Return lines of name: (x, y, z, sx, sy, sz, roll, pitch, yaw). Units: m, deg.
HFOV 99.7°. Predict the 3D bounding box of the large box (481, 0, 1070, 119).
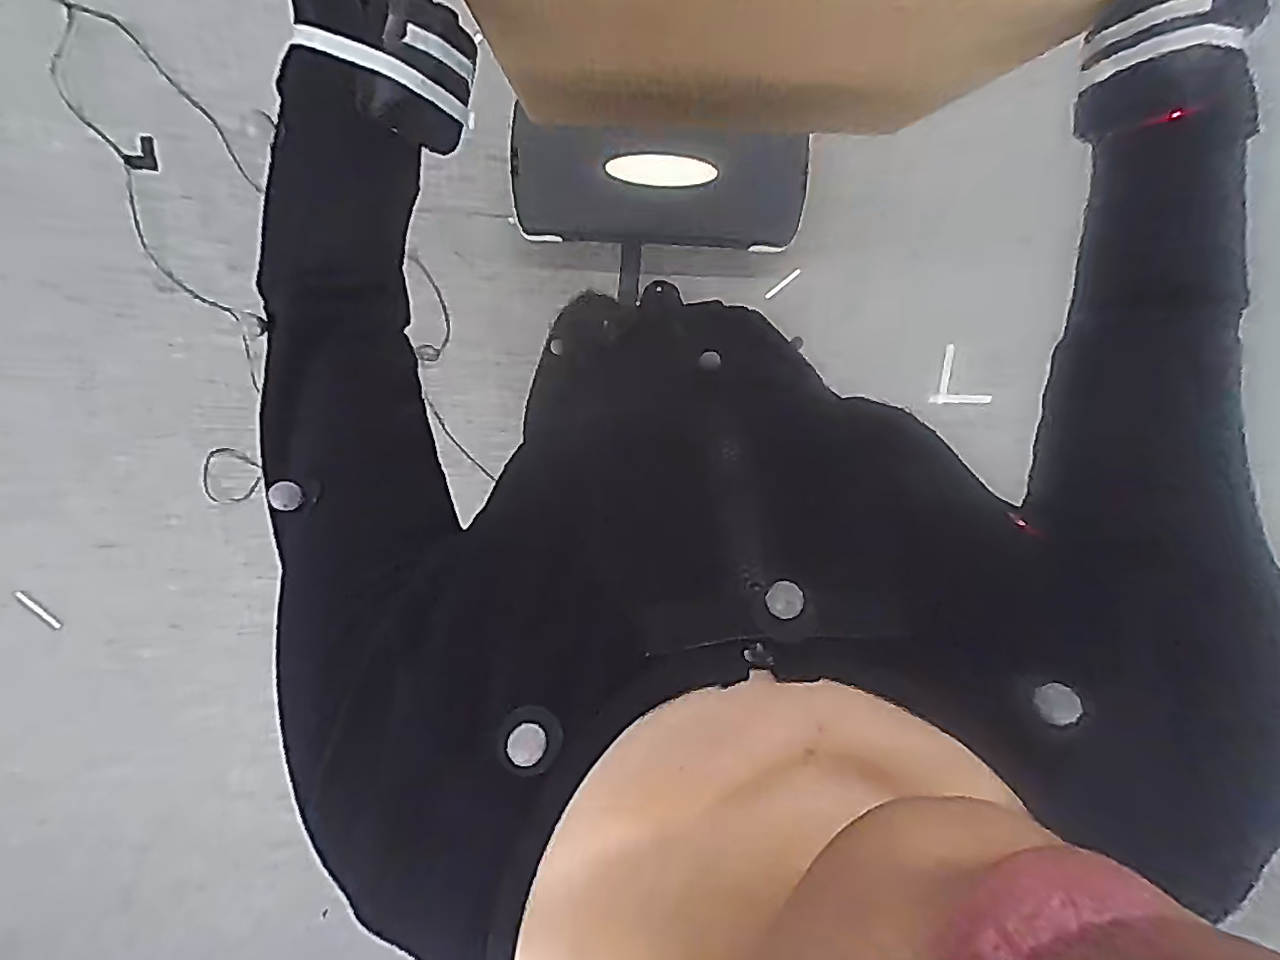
large box: (0.085, -0.489, 0.399, 0.408, 0.320, 0.320, 0, 111, -3)
